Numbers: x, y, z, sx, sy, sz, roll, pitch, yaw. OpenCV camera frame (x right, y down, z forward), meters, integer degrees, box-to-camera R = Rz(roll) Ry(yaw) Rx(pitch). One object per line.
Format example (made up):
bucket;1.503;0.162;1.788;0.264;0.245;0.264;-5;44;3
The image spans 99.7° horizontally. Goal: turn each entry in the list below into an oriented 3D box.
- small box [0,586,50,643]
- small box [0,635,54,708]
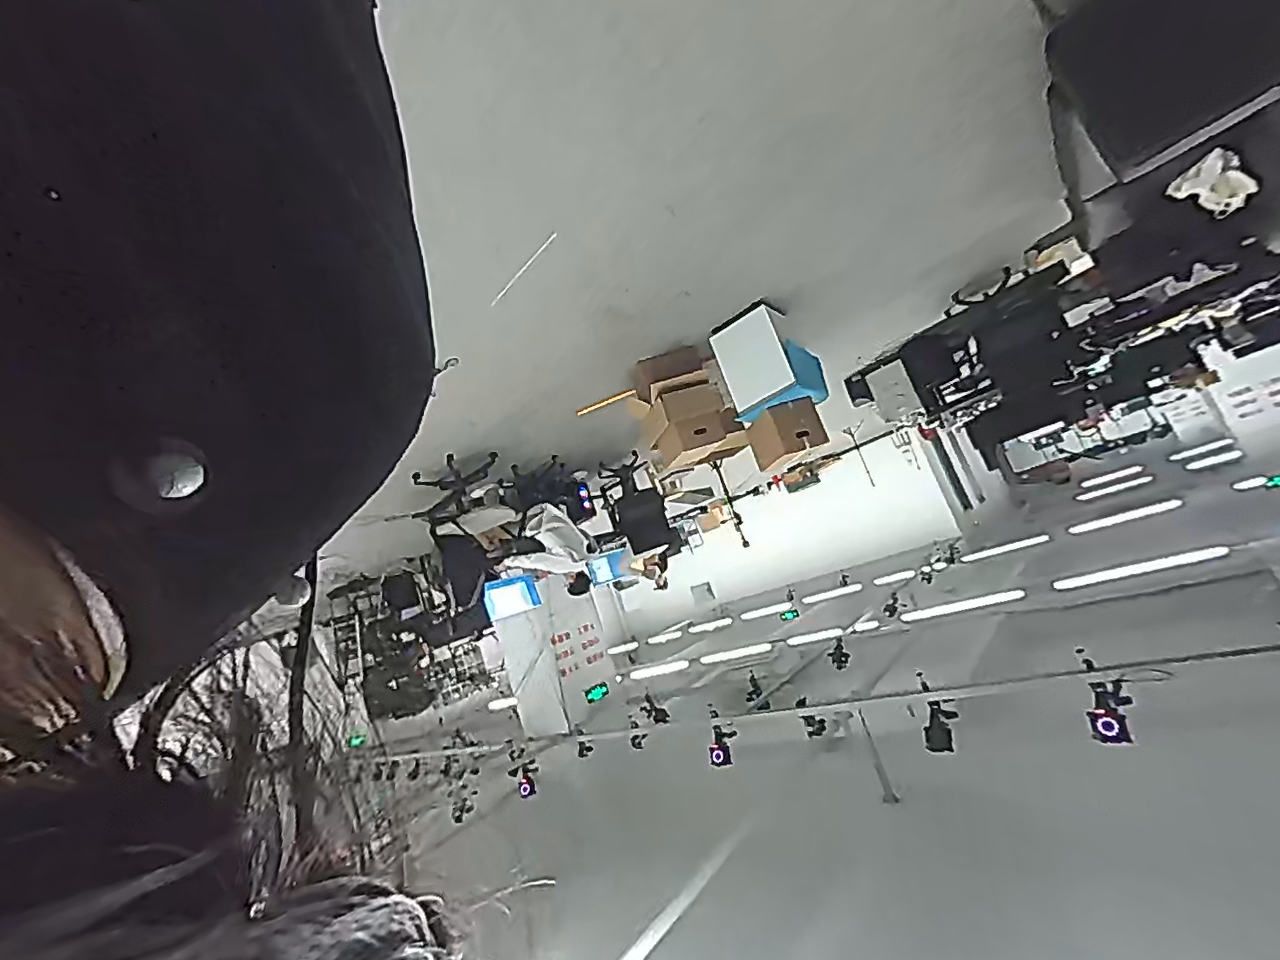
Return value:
small box;-1.976;0.439;1.678;0.179;0.176;0.168;-7;163;-47
small box;-1.923;0.588;1.641;0.179;0.176;0.168;-9;164;-45
